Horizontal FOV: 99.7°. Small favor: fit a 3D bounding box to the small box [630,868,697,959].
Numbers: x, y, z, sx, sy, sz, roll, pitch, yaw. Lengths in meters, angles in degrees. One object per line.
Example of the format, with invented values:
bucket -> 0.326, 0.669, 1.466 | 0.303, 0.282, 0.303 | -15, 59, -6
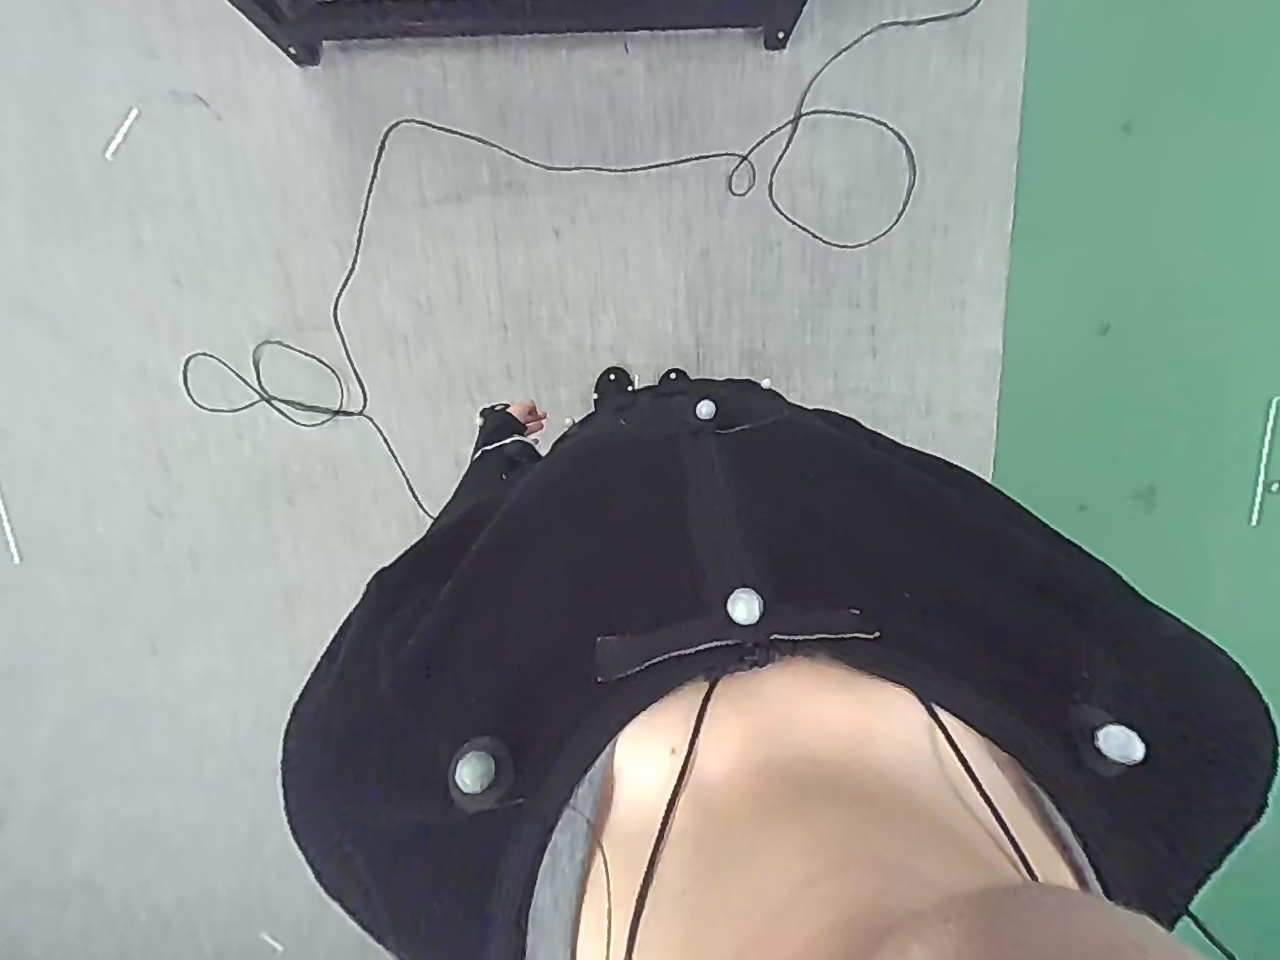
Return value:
small box -> 0.065, 1.286, 1.595 | 0.179, 0.176, 0.168 | -4, 99, -2
